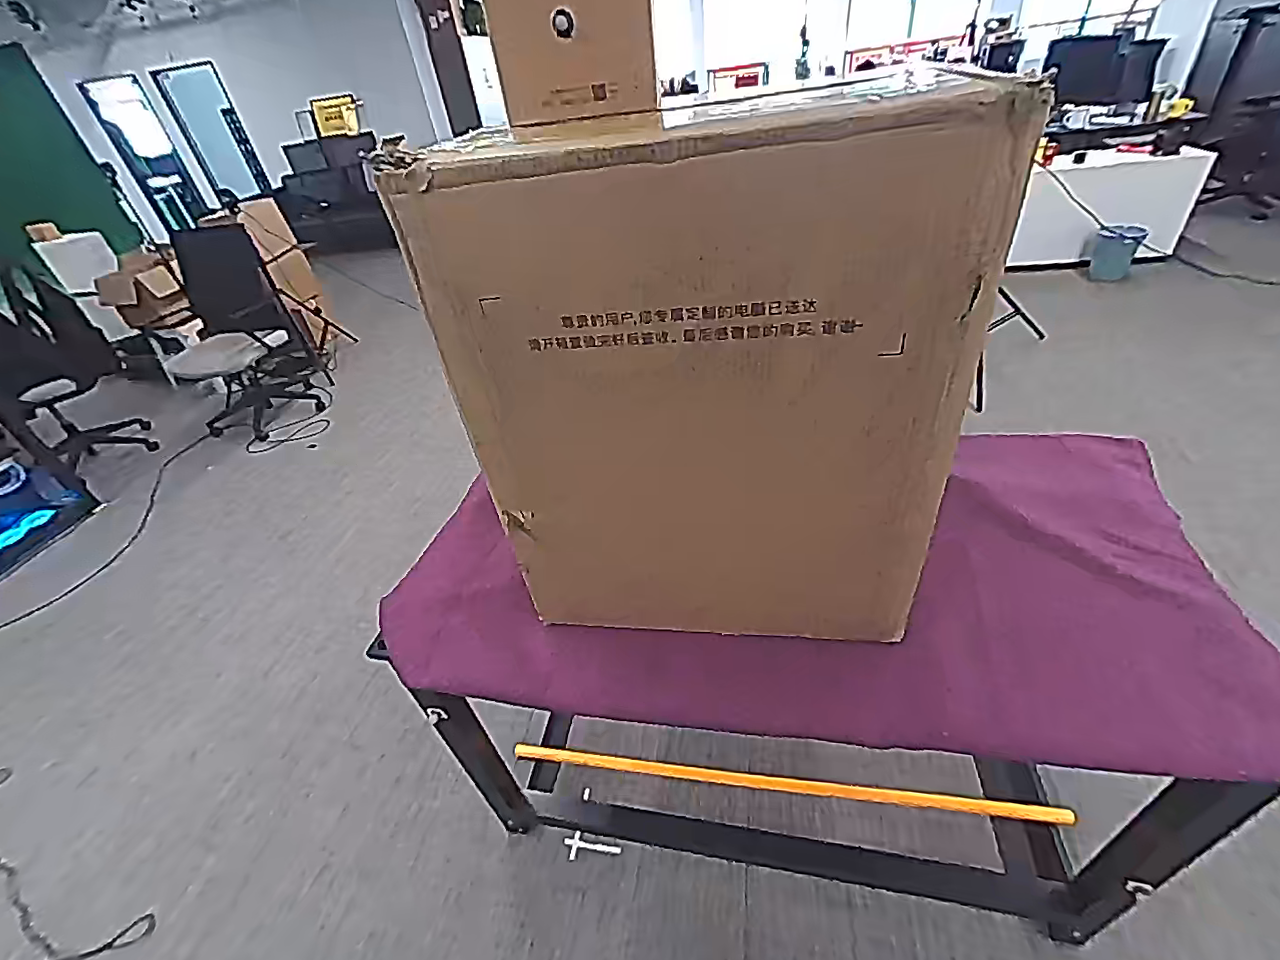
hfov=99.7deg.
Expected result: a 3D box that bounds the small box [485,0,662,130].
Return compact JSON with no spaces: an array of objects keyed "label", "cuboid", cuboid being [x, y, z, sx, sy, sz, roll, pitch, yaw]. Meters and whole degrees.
[{"label":"small box","cuboid":[-0.063,-0.498,0.600,0.168,0.176,0.179,-2,38,6]}]
